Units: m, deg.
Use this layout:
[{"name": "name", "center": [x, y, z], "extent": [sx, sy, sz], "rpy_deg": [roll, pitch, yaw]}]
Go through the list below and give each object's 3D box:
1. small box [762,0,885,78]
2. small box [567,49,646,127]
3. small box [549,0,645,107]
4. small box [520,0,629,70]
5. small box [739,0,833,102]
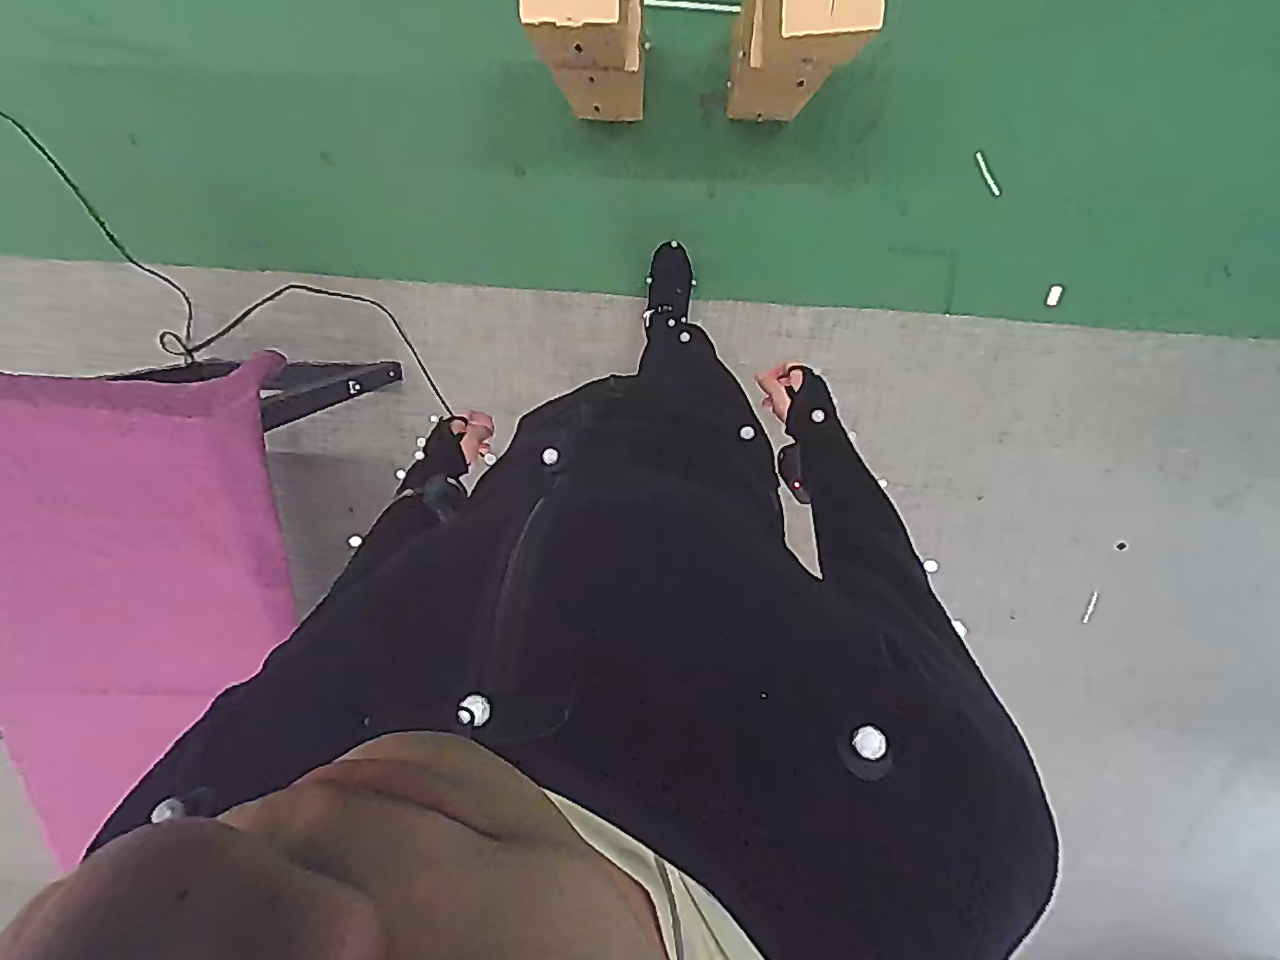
[{"name": "small box", "center": [0.308, -0.825, 0.926], "extent": [0.168, 0.176, 0.179], "rpy_deg": [-3, 111, 2]}, {"name": "small box", "center": [-0.074, -0.935, 1.246], "extent": [0.168, 0.176, 0.179], "rpy_deg": [2, 108, 2]}, {"name": "small box", "center": [-0.082, -0.877, 1.093], "extent": [0.179, 0.176, 0.168], "rpy_deg": [2, 109, 1]}, {"name": "small box", "center": [-0.106, -0.839, 0.933], "extent": [0.168, 0.176, 0.179], "rpy_deg": [3, 109, 2]}, {"name": "small box", "center": [0.296, -0.881, 1.079], "extent": [0.168, 0.176, 0.179], "rpy_deg": [2, 110, 0]}]
